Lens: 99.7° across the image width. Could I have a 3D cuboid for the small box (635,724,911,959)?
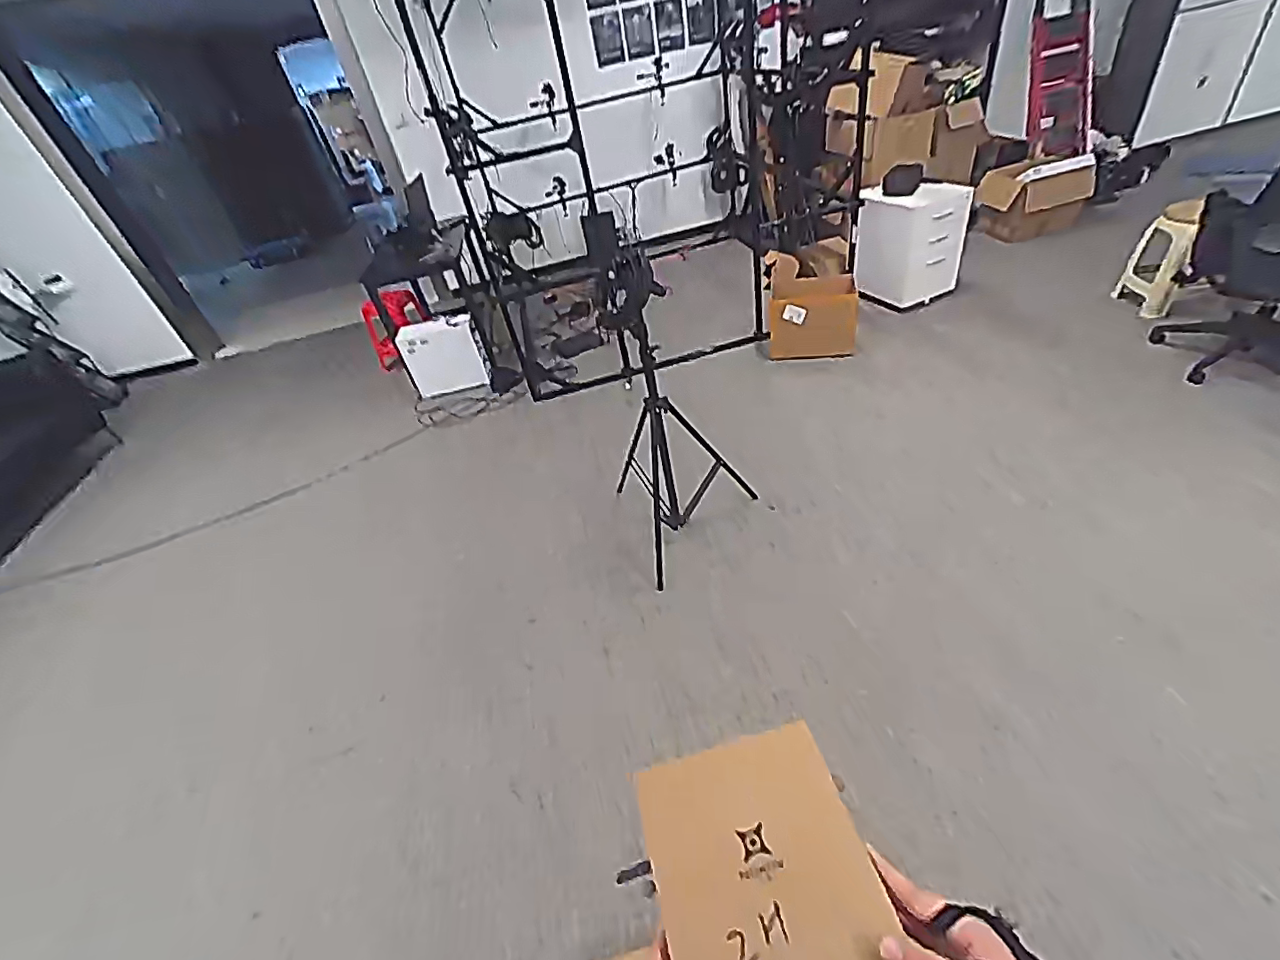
[{"bbox_3d":[0.101,0.355,0.478,0.168,0.176,0.179,-16,41,-3],"label":"small box"}]
